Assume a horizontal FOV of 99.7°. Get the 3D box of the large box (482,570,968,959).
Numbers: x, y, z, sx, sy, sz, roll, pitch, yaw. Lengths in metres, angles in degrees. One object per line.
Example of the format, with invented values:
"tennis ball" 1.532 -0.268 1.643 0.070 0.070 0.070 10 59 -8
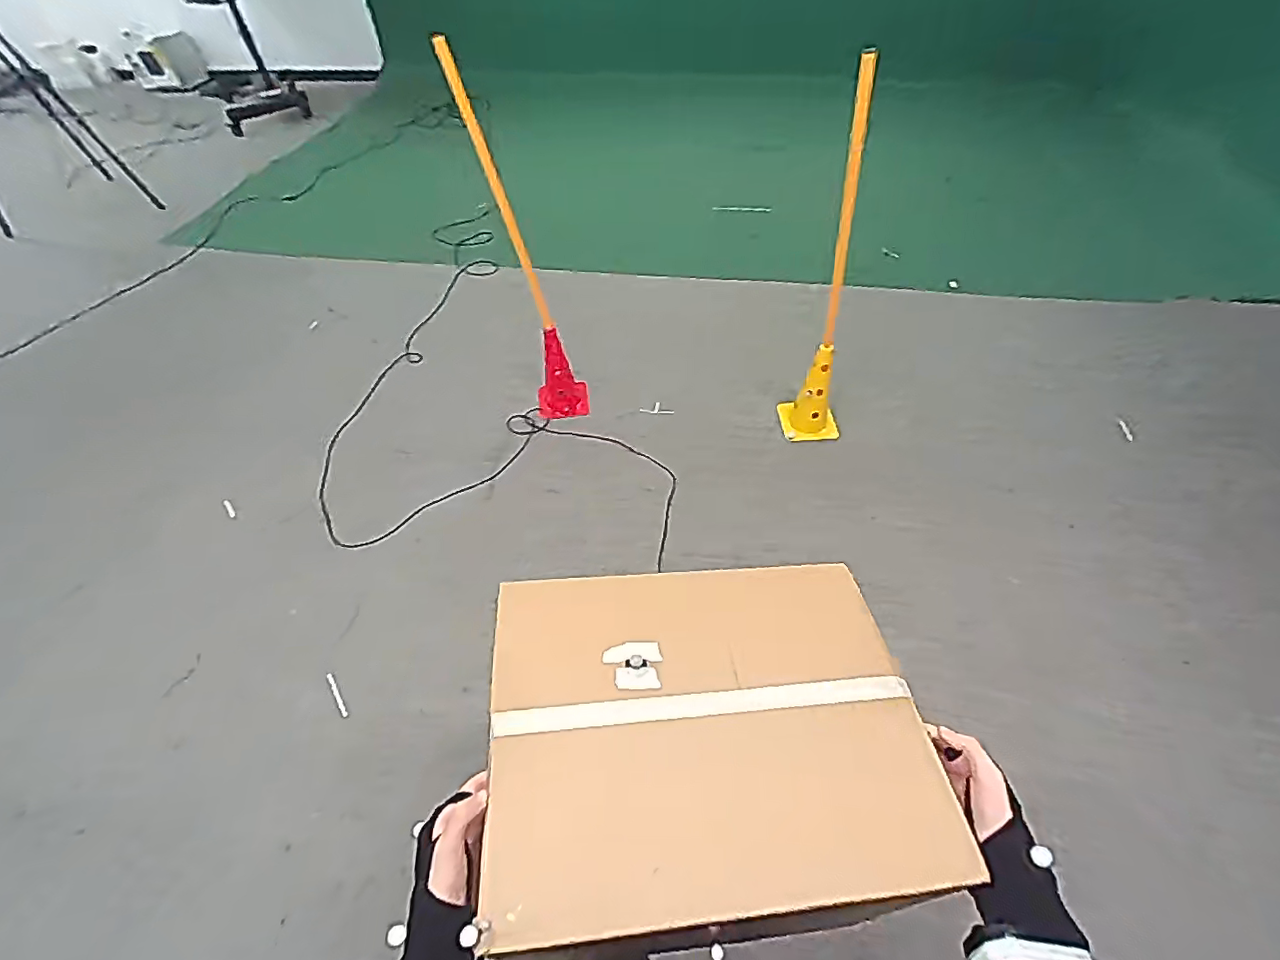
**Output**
"large box" 0.053 0.332 0.630 0.408 0.320 0.320 -3 46 -7
